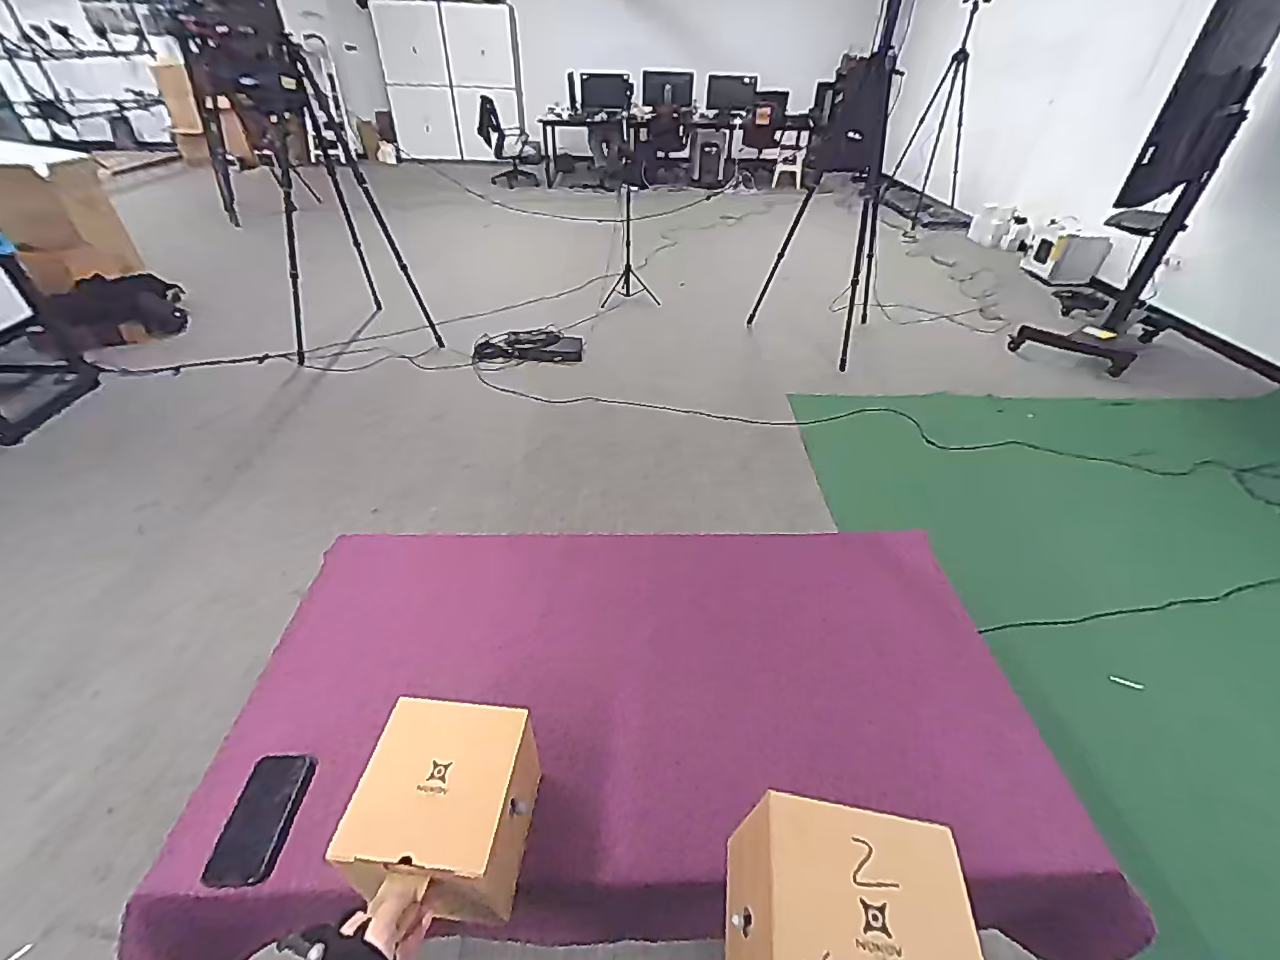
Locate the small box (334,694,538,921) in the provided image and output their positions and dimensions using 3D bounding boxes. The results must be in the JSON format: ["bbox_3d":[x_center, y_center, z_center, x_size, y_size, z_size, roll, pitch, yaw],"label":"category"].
[{"bbox_3d":[-0.224,0.391,0.651,0.168,0.176,0.179,6,39,4],"label":"small box"}]
